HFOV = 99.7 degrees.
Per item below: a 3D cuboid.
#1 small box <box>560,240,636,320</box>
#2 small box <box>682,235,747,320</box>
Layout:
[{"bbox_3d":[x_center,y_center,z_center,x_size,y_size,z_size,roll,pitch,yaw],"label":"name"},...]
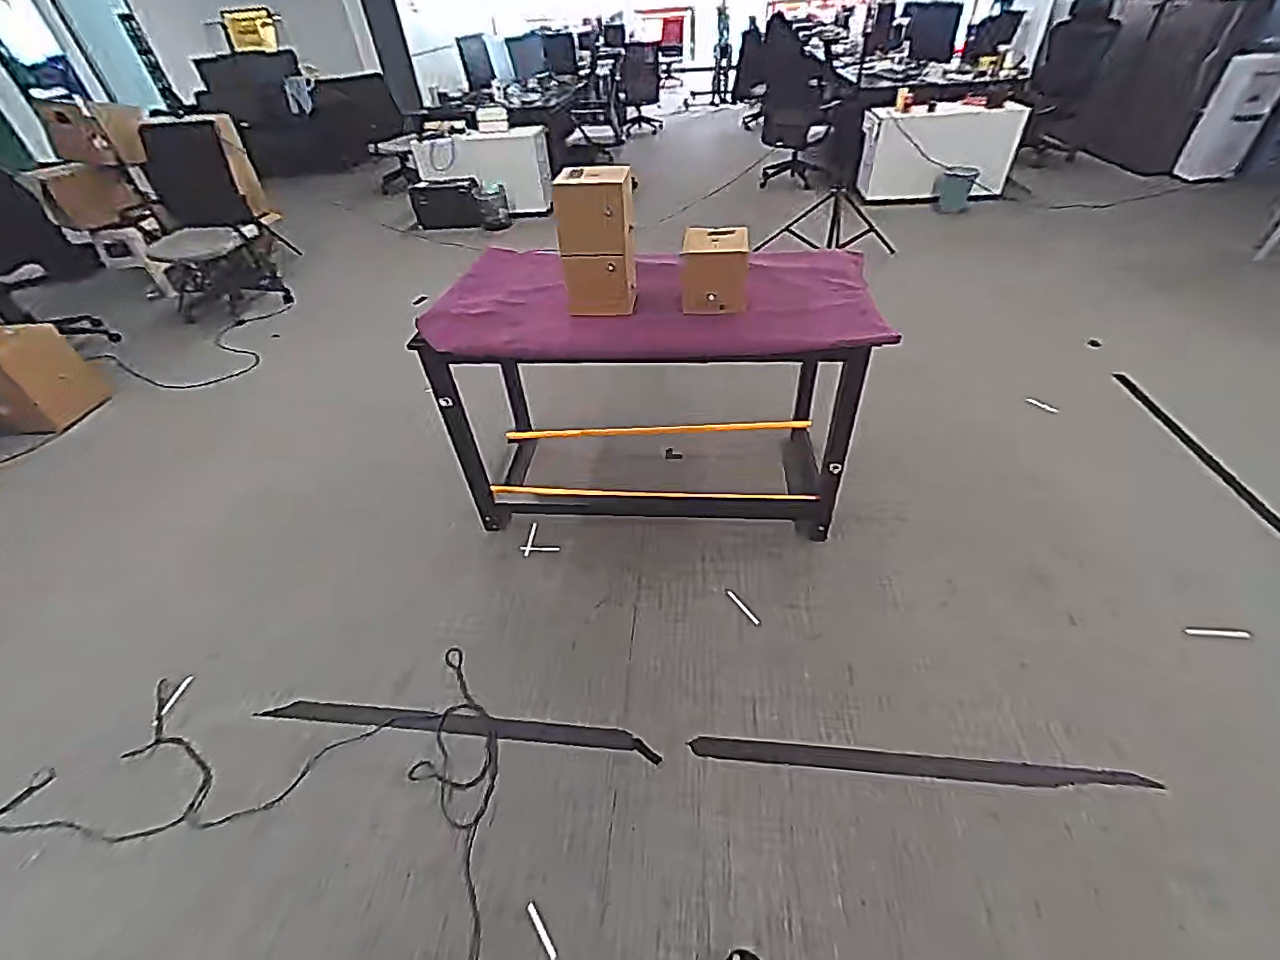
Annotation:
[{"bbox_3d":[-0.111,-0.555,1.506,0.179,0.176,0.168,2,42,6],"label":"small box"},{"bbox_3d":[0.201,-0.553,1.472,0.168,0.176,0.179,2,42,8],"label":"small box"}]
